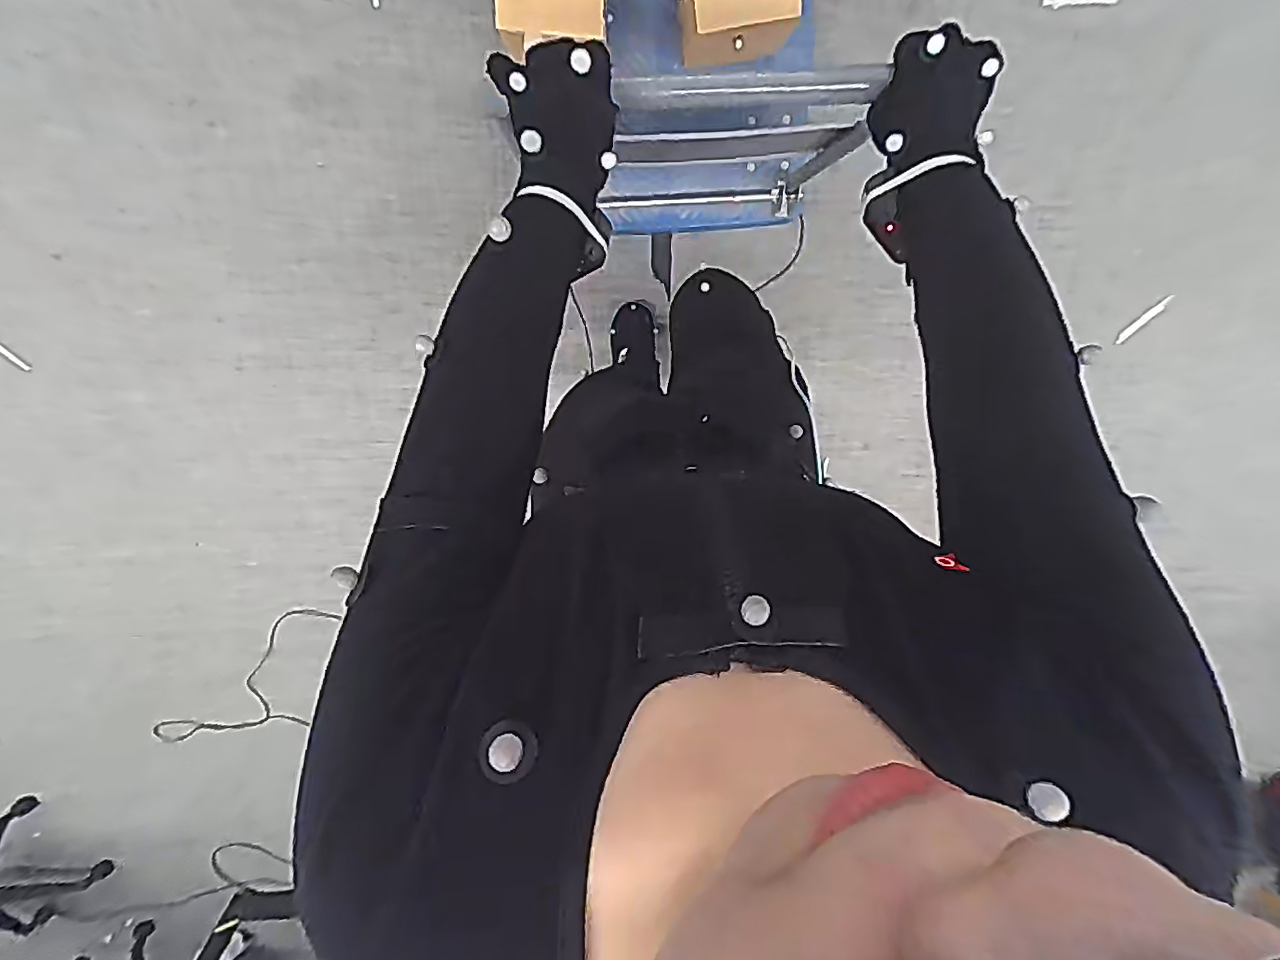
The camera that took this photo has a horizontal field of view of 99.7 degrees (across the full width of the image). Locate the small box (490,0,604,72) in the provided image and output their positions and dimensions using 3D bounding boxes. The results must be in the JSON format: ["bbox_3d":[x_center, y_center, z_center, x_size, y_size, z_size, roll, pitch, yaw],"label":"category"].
[{"bbox_3d":[-0.150,-0.815,0.908,0.179,0.176,0.168,1,111,-6],"label":"small box"}]

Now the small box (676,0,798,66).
[{"bbox_3d":[0.155,-0.837,0.917,0.179,0.176,0.168,-10,111,0],"label":"small box"}]
